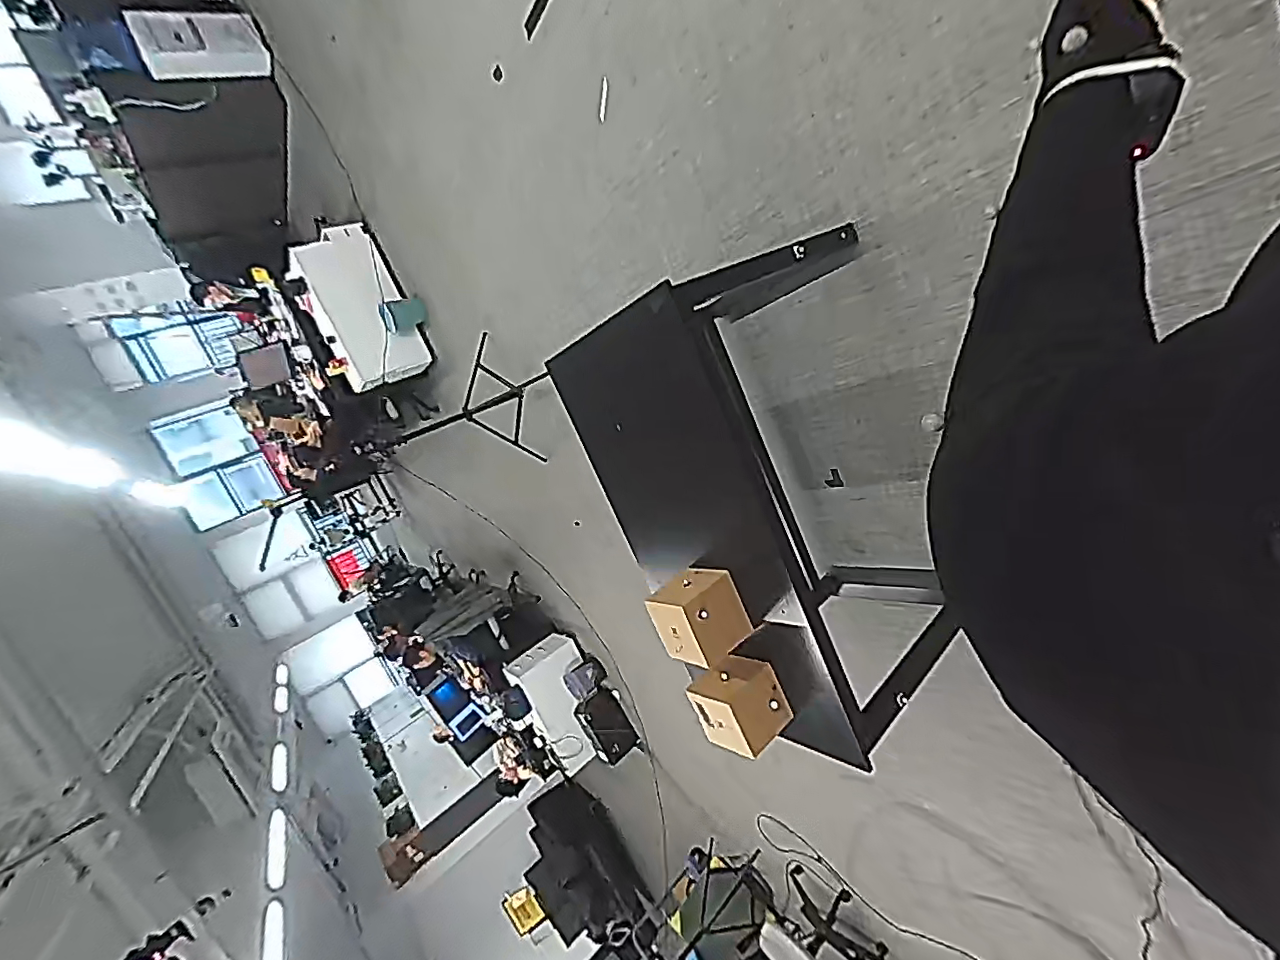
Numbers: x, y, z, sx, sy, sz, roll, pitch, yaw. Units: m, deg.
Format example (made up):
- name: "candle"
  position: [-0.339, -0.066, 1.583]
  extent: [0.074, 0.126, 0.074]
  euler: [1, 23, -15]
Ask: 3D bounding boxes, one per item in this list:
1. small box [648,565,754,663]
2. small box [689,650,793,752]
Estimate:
- name: "small box"
  position: [0.157, 0.333, 1.382]
  extent: [0.168, 0.176, 0.179]
  euler: [-10, 107, 58]
- name: "small box"
  position: [0.268, 0.571, 1.425]
  extent: [0.179, 0.176, 0.168]
  euler: [-13, 105, 57]
